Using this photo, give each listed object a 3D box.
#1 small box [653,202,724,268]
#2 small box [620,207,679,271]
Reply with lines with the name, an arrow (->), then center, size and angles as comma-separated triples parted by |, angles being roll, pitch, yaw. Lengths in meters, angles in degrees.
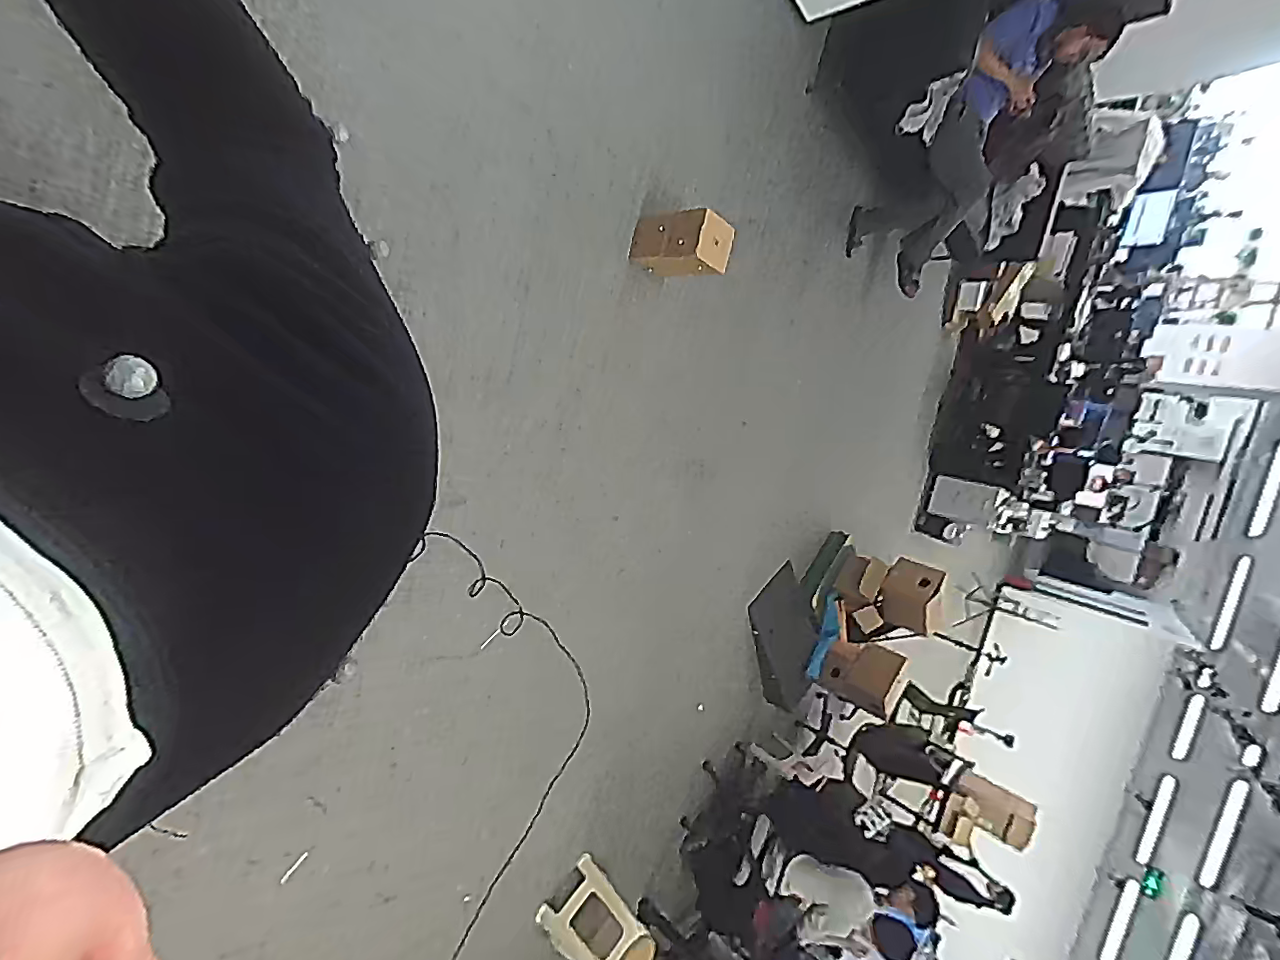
small box -> 0.171, -0.870, 1.939 | 0.179, 0.176, 0.168 | 6, 99, -50
small box -> 0.053, -0.907, 2.044 | 0.179, 0.176, 0.168 | 10, 95, -49
